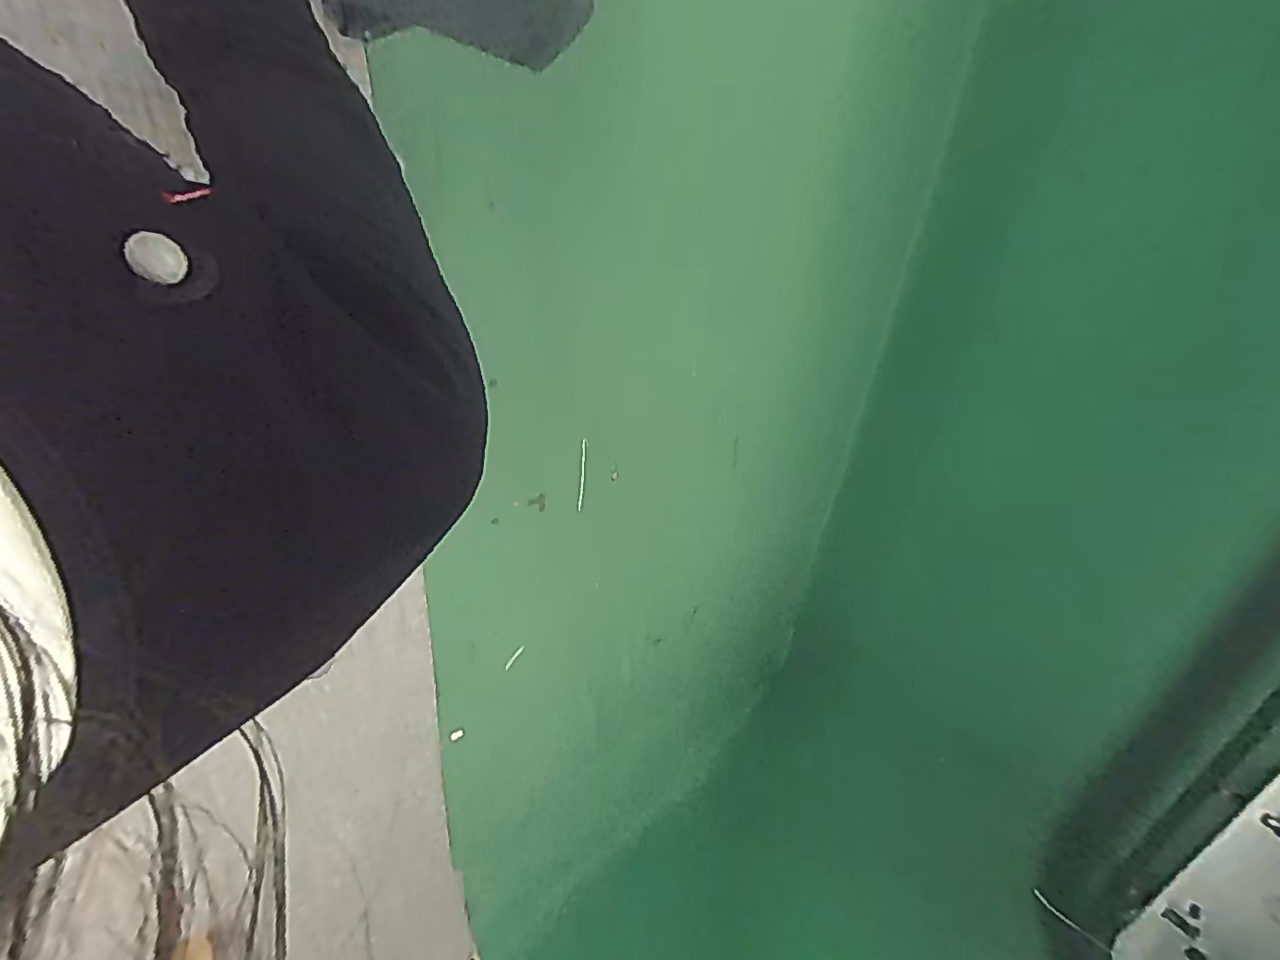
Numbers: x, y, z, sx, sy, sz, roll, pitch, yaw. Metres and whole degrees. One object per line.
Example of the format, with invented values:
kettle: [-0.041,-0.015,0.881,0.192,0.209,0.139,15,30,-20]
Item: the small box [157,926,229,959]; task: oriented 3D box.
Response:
small box: [-1.389,1.551,1.676,0.179,0.176,0.168,-19,125,-41]
